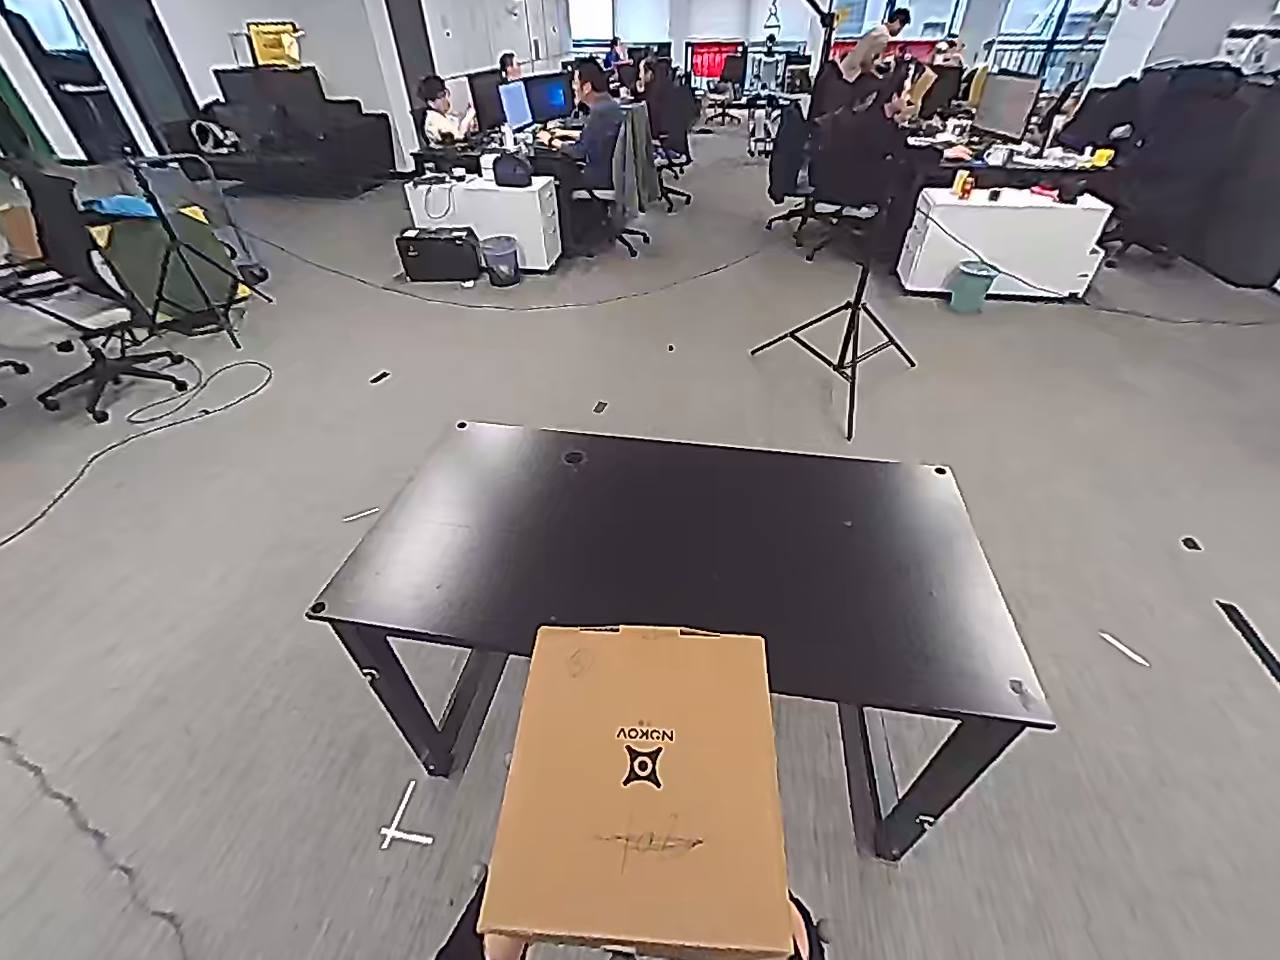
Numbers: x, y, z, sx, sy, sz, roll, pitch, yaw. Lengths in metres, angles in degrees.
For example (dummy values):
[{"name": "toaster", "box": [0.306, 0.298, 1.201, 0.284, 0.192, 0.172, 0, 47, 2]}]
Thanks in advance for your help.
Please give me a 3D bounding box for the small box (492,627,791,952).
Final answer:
[{"name": "small box", "box": [0.005, 0.231, 0.405, 0.168, 0.176, 0.179, 1, 48, 3]}]
